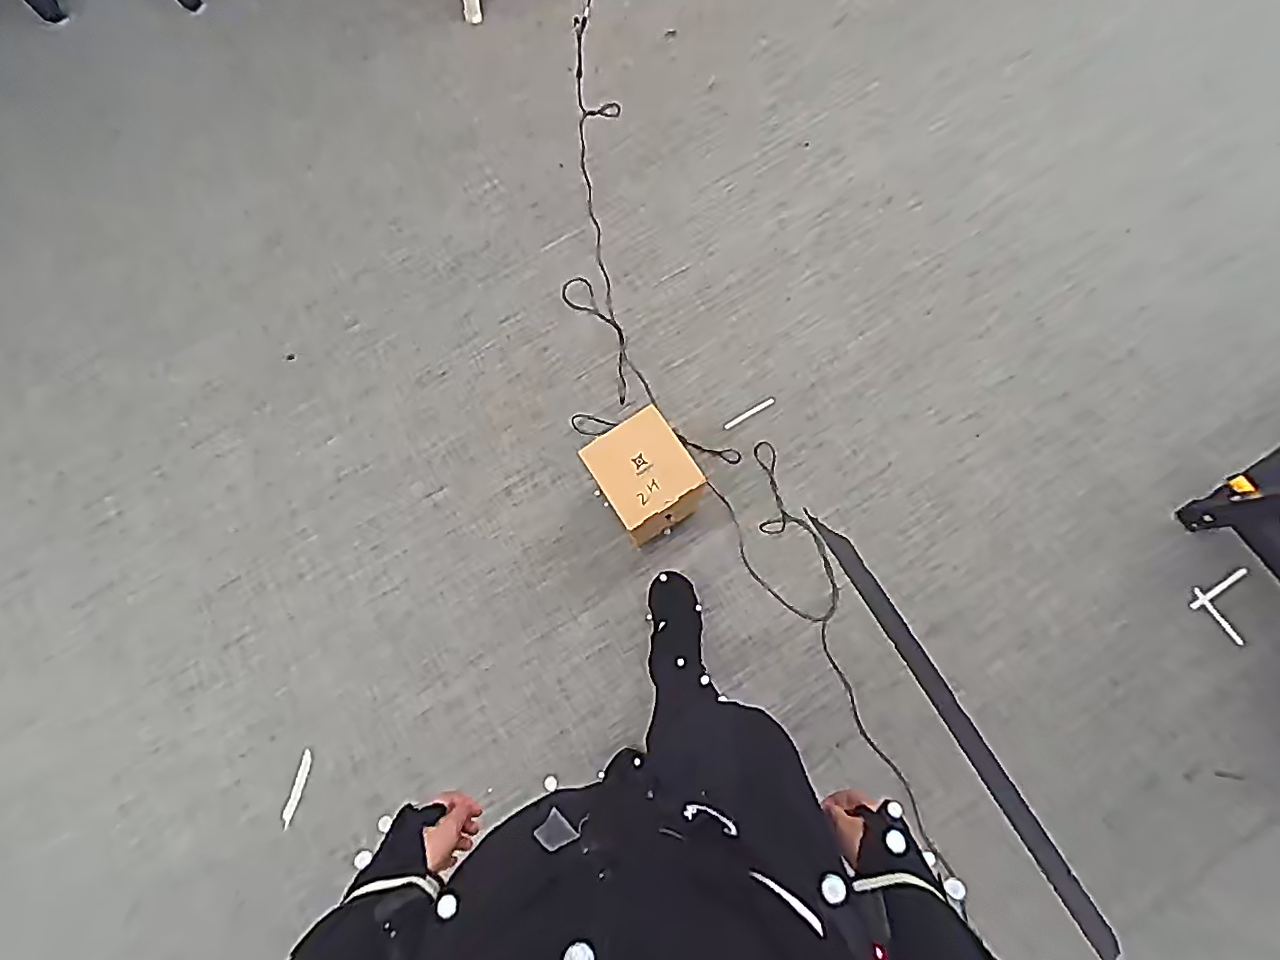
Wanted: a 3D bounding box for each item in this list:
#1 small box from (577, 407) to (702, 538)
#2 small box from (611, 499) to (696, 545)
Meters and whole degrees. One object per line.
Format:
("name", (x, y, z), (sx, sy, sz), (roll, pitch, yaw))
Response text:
("small box", (0.001, -0.006, 1.040), (0.168, 0.176, 0.179), (-33, 79, -4))
("small box", (0.007, 0.029, 1.202), (0.168, 0.176, 0.179), (-31, 79, -4))
